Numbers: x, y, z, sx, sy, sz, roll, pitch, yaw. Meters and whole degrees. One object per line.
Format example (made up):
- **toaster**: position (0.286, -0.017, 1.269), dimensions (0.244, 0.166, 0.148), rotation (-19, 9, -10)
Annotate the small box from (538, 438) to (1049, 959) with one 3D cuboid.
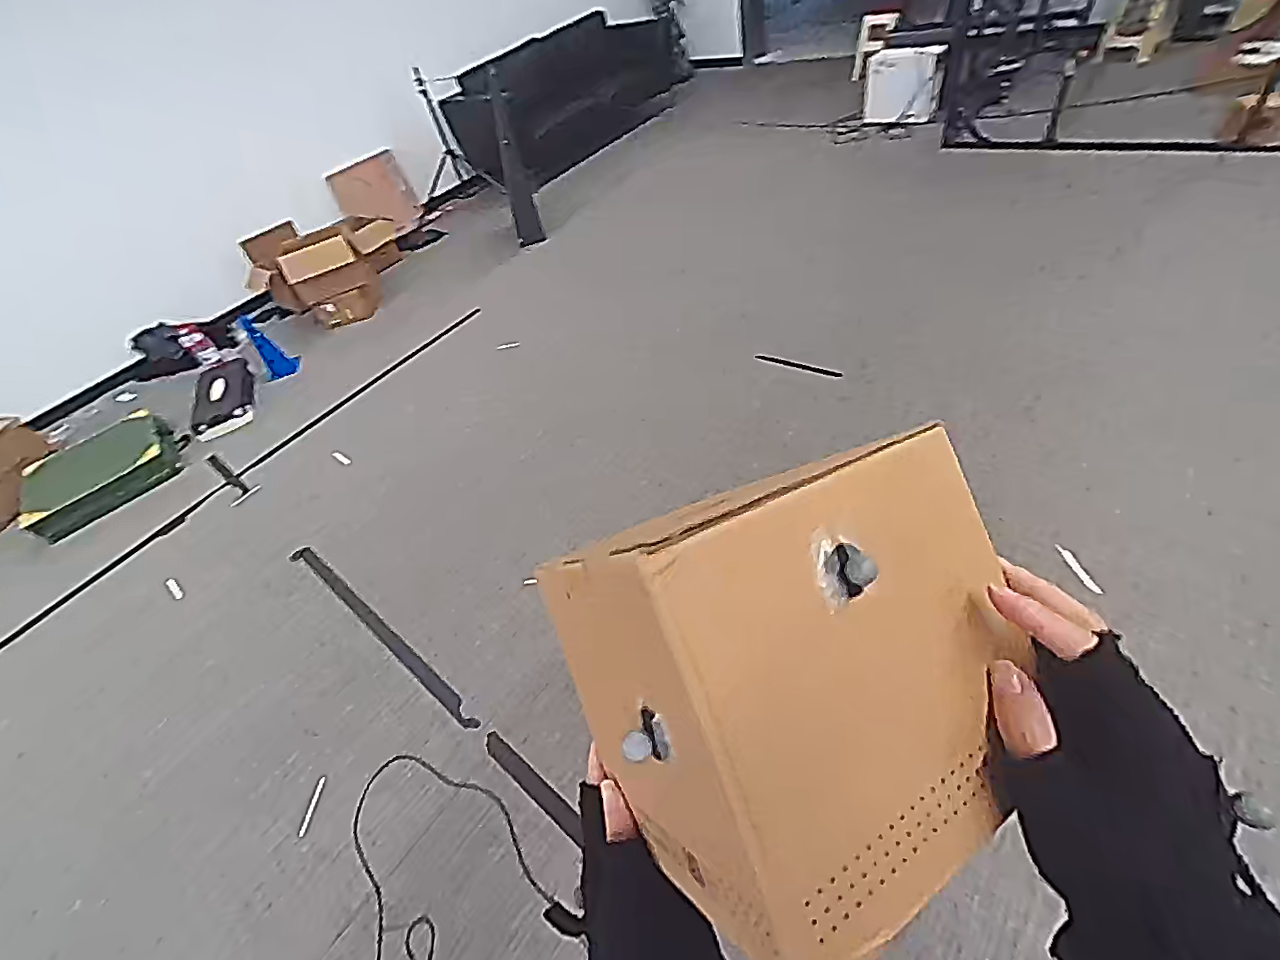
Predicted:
- **small box**: position (0.069, 0.099, 0.290), dimensions (0.179, 0.168, 0.176), rotation (-20, 87, -25)
